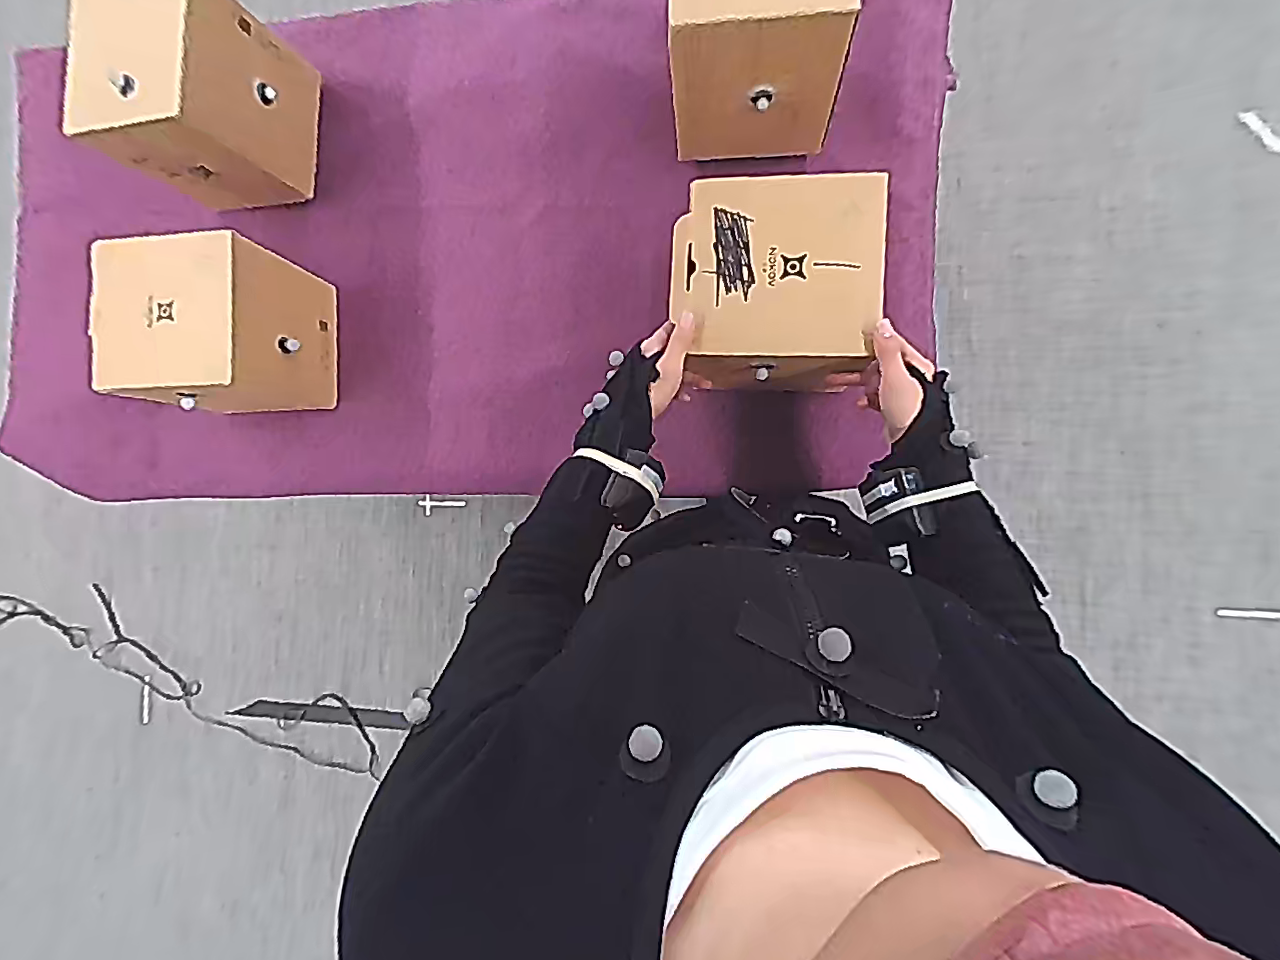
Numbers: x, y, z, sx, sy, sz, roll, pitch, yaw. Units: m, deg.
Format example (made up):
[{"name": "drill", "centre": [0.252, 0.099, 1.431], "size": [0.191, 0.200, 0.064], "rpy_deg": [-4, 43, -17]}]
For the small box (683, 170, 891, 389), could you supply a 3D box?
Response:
[{"name": "small box", "centre": [0.142, -0.191, 0.561], "size": [0.179, 0.176, 0.168], "rpy_deg": [3, 89, 8]}]

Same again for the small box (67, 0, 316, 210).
[{"name": "small box", "centre": [-0.521, -0.451, 0.646], "size": [0.179, 0.168, 0.176], "rpy_deg": [3, 89, 15]}]

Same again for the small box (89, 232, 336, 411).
[{"name": "small box", "centre": [-0.497, -0.177, 0.653], "size": [0.179, 0.176, 0.168], "rpy_deg": [-1, 89, 8]}]
